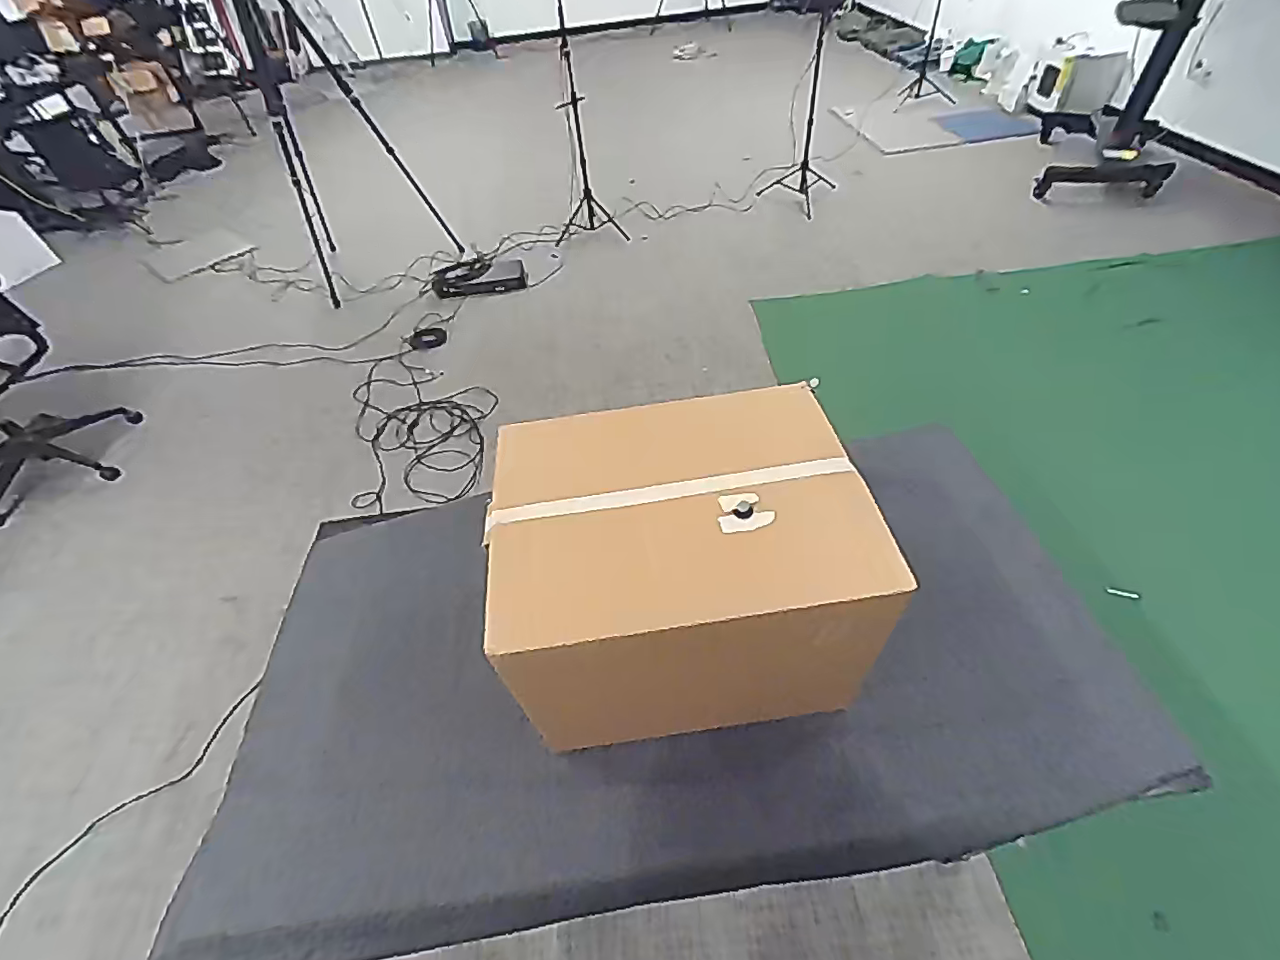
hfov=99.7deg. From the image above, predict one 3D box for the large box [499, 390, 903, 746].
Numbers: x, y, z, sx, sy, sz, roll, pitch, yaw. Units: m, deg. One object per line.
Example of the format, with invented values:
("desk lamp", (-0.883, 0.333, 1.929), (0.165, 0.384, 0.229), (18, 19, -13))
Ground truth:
("large box", (0.050, 0.120, 0.721), (0.408, 0.320, 0.320), (-8, 49, -2))
